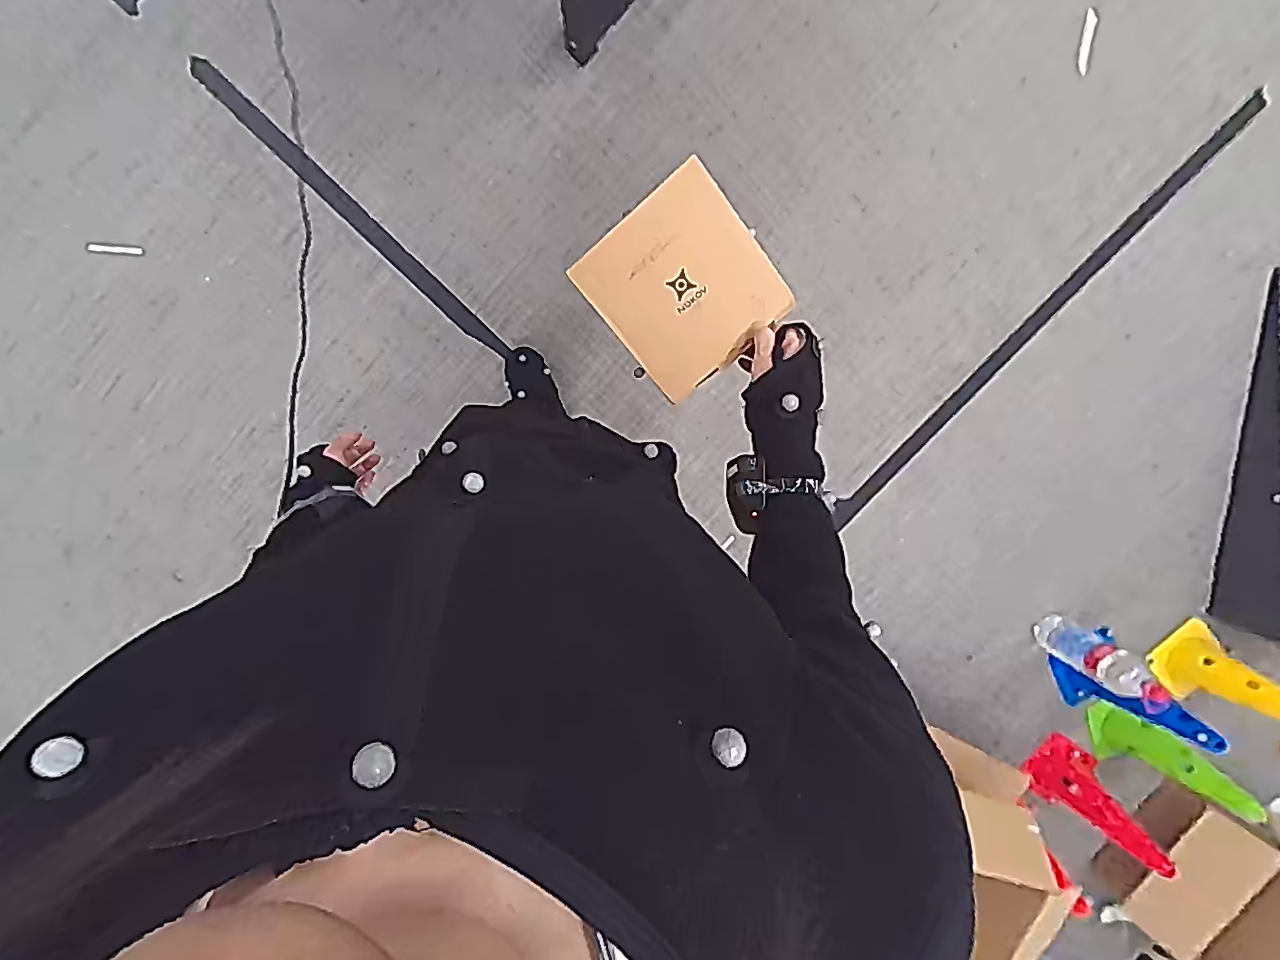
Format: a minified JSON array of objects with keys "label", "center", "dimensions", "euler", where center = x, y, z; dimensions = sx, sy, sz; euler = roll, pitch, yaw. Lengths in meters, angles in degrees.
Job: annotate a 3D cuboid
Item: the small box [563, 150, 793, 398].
[{"label":"small box","center":[0.037,-0.222,0.611],"dimensions":[0.168,0.176,0.179],"euler":[-40,105,9]}]
